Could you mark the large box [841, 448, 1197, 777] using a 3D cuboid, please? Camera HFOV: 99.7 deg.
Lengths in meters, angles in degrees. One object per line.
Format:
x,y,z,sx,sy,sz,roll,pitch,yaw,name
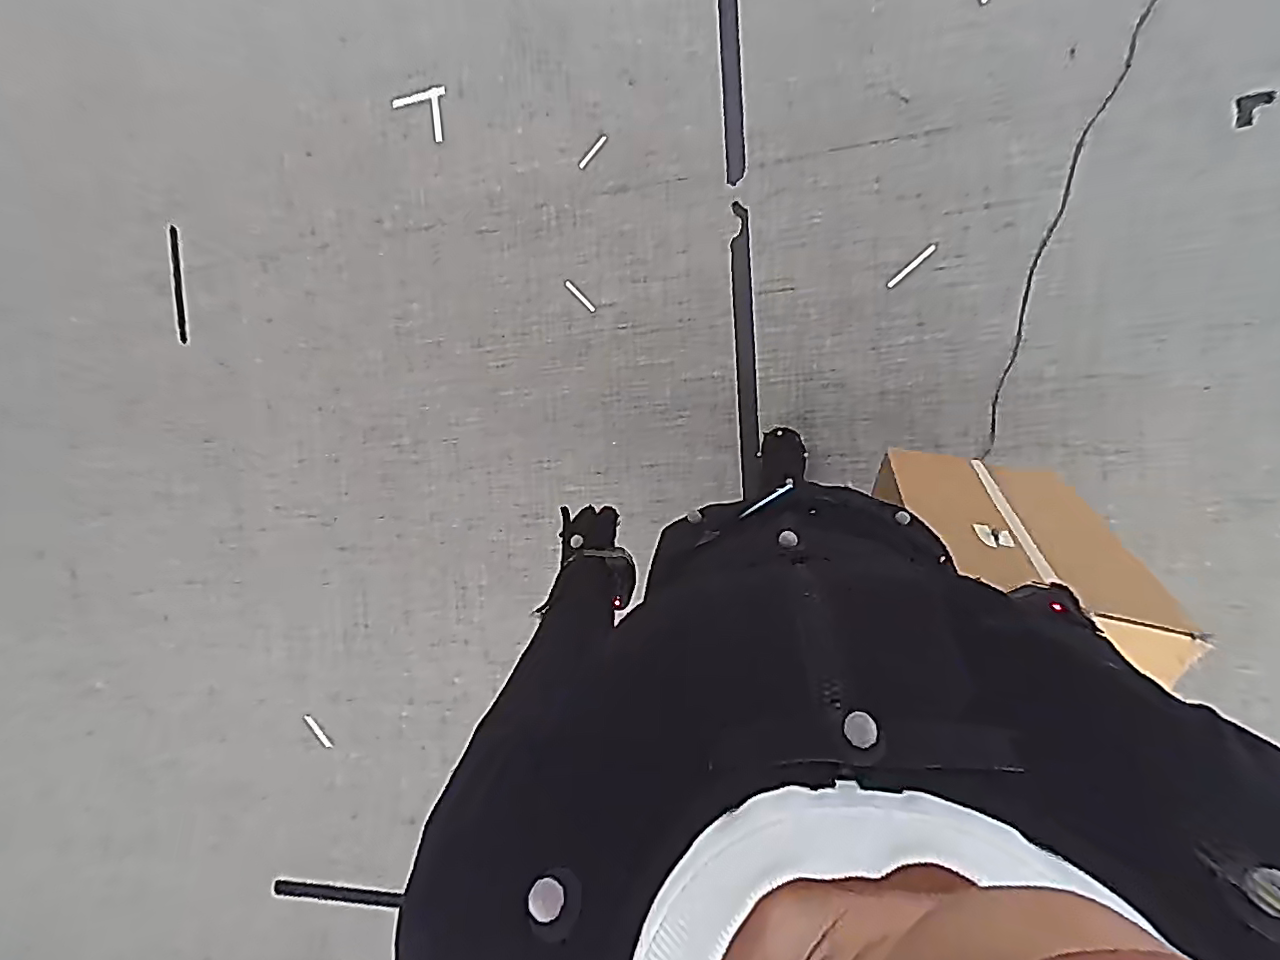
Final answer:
0.551,0.193,0.911,0.320,0.408,0.320,10,122,10,large box
